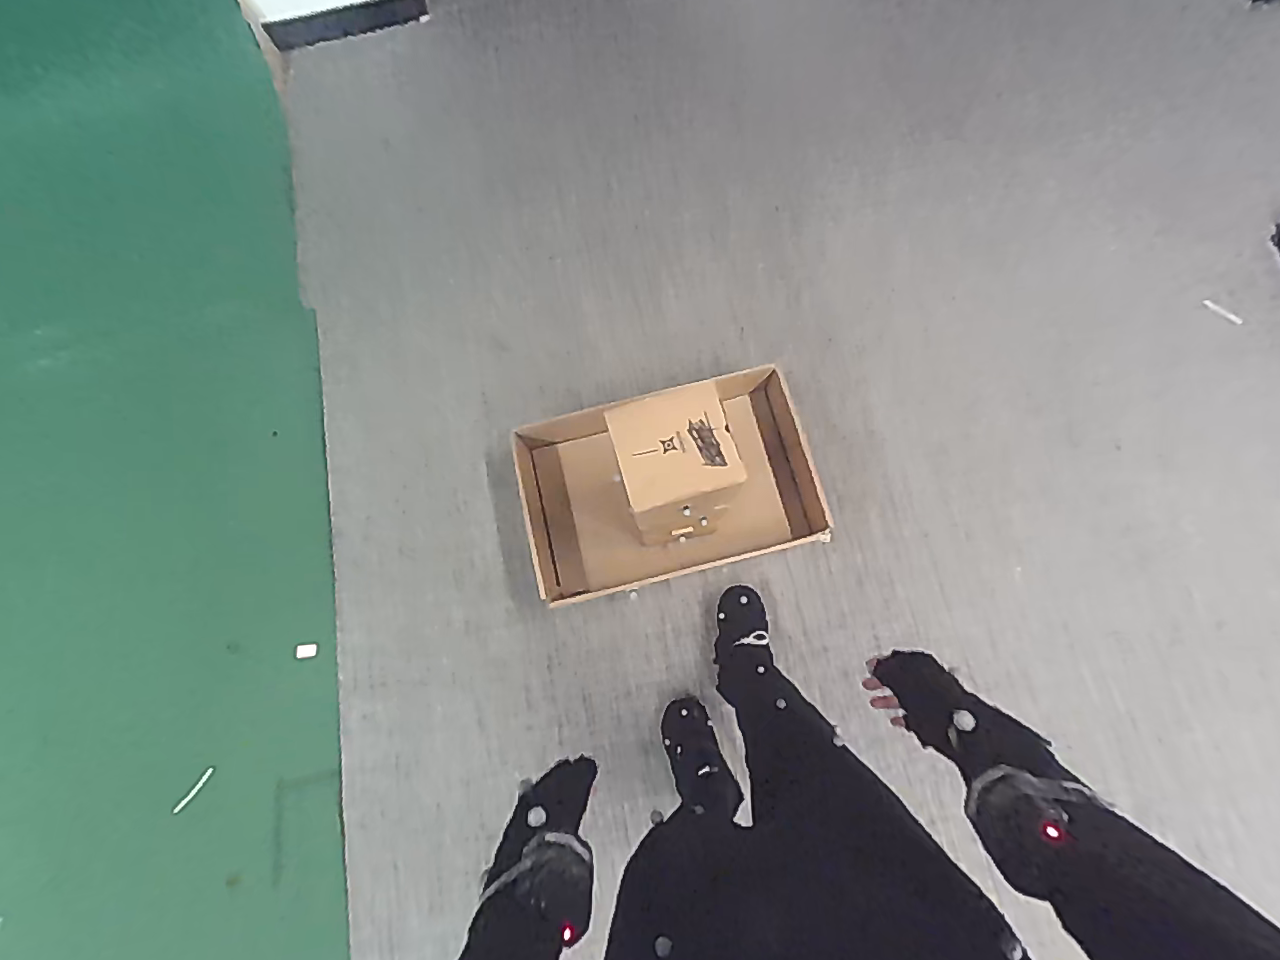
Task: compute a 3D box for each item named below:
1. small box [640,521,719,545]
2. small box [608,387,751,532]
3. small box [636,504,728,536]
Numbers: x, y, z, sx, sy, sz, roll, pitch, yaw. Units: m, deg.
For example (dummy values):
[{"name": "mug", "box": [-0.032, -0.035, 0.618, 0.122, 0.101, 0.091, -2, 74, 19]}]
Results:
[{"name": "small box", "box": [0.075, 0.043, 1.195, 0.168, 0.176, 0.179, -11, 77, 1]}, {"name": "small box", "box": [0.058, -0.025, 0.877, 0.179, 0.176, 0.168, -19, 77, -2]}, {"name": "small box", "box": [0.065, 0.005, 1.038, 0.168, 0.176, 0.179, -12, 76, 0]}]
